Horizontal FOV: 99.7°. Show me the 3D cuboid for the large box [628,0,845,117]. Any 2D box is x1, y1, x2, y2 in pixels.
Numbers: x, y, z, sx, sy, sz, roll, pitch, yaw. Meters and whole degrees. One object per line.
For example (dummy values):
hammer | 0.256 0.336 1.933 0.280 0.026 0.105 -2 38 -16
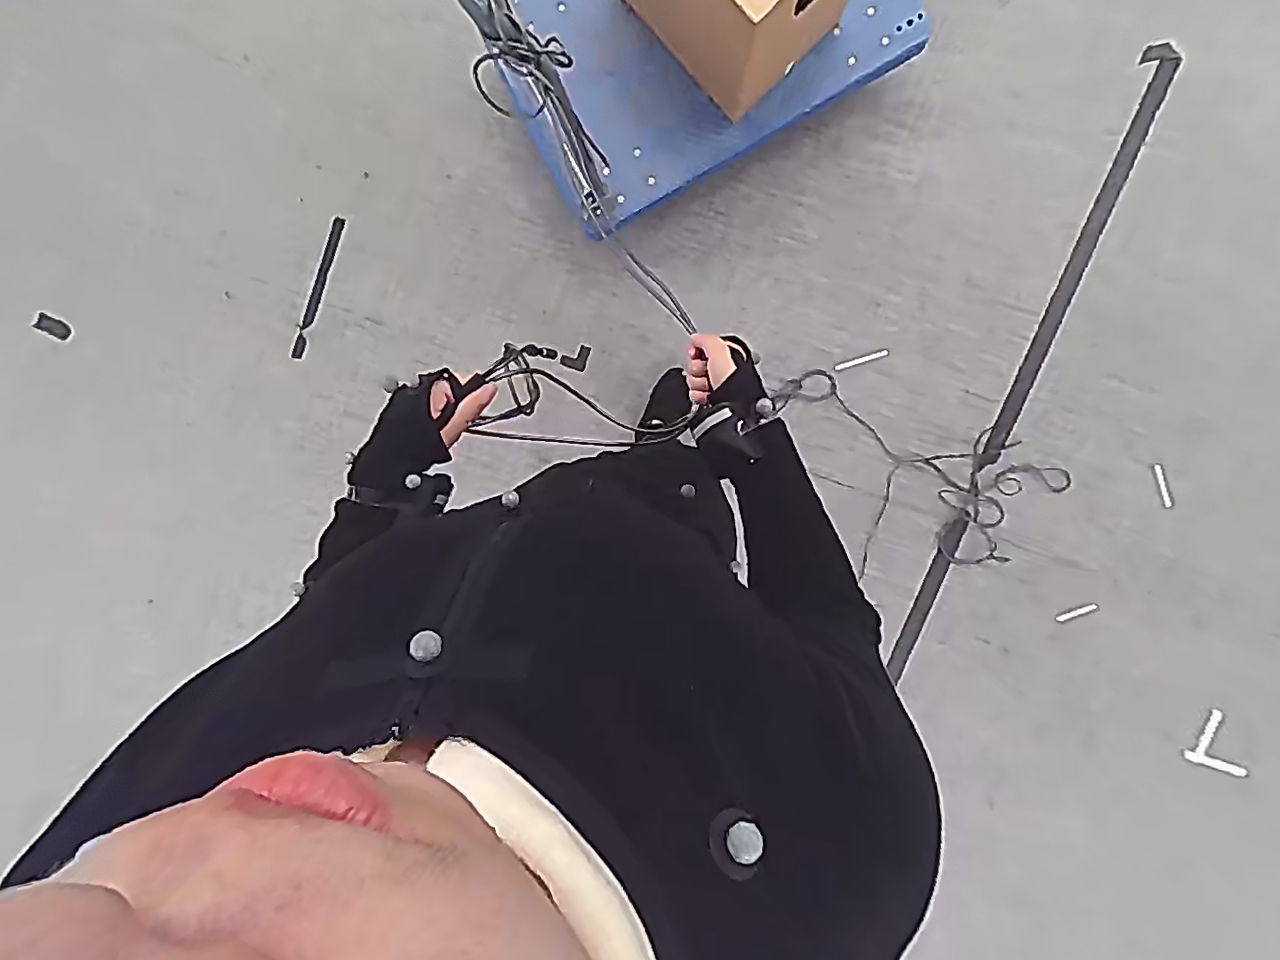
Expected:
large box | 0.180 -1.027 1.029 0.320 0.320 0.408 -43 93 8
